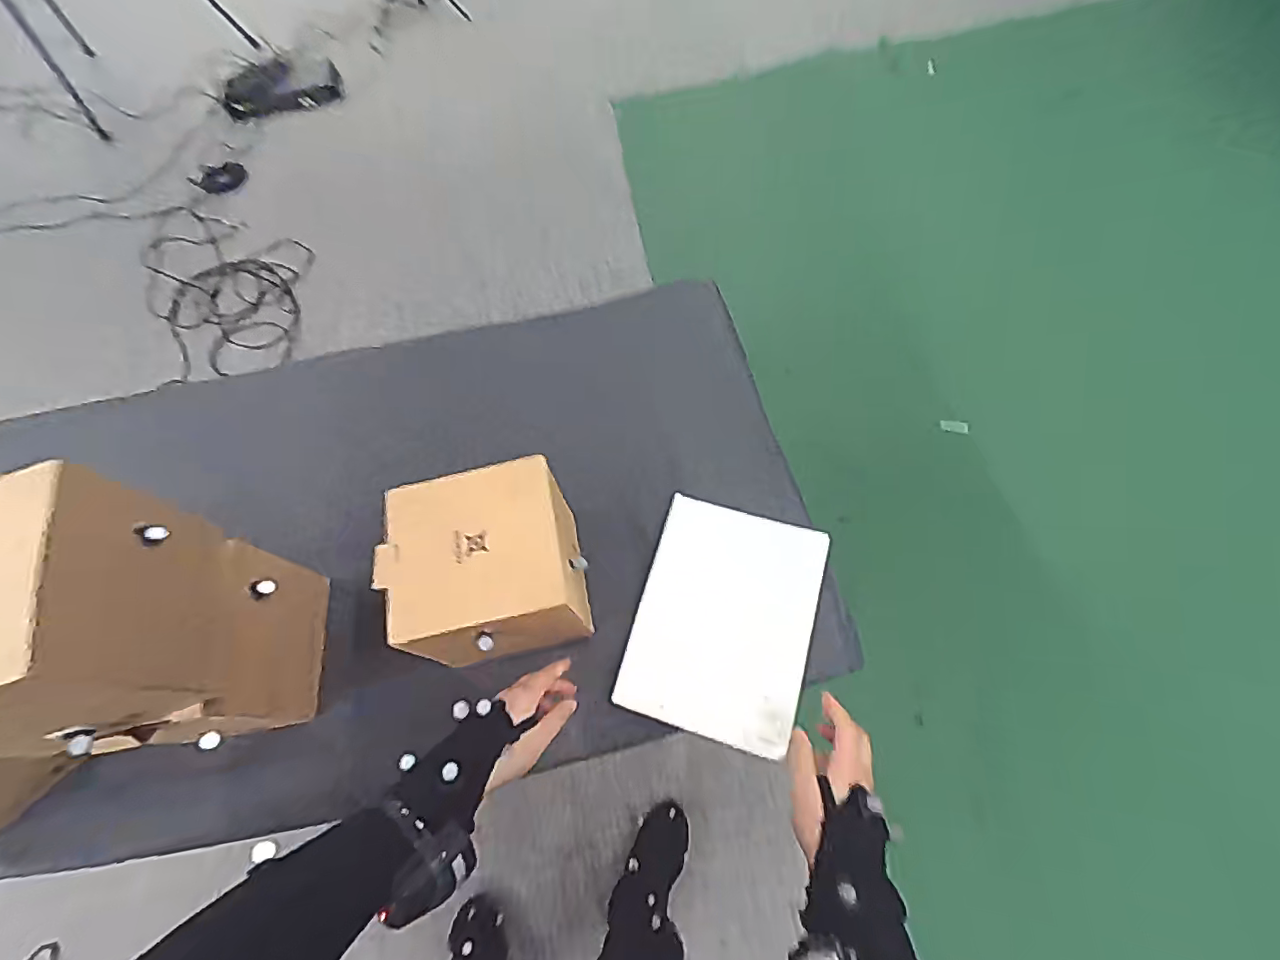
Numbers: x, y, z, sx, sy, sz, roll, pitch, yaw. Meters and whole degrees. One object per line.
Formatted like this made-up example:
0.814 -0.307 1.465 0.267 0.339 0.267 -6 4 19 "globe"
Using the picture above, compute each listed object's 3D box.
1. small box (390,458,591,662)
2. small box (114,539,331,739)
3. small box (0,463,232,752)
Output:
-0.159 0.099 0.616 0.179 0.176 0.168 -14 64 0 "small box"
-0.478 0.186 0.607 0.168 0.176 0.179 -10 64 2 "small box"
-0.488 0.117 0.460 0.168 0.176 0.179 -21 65 -3 "small box"
